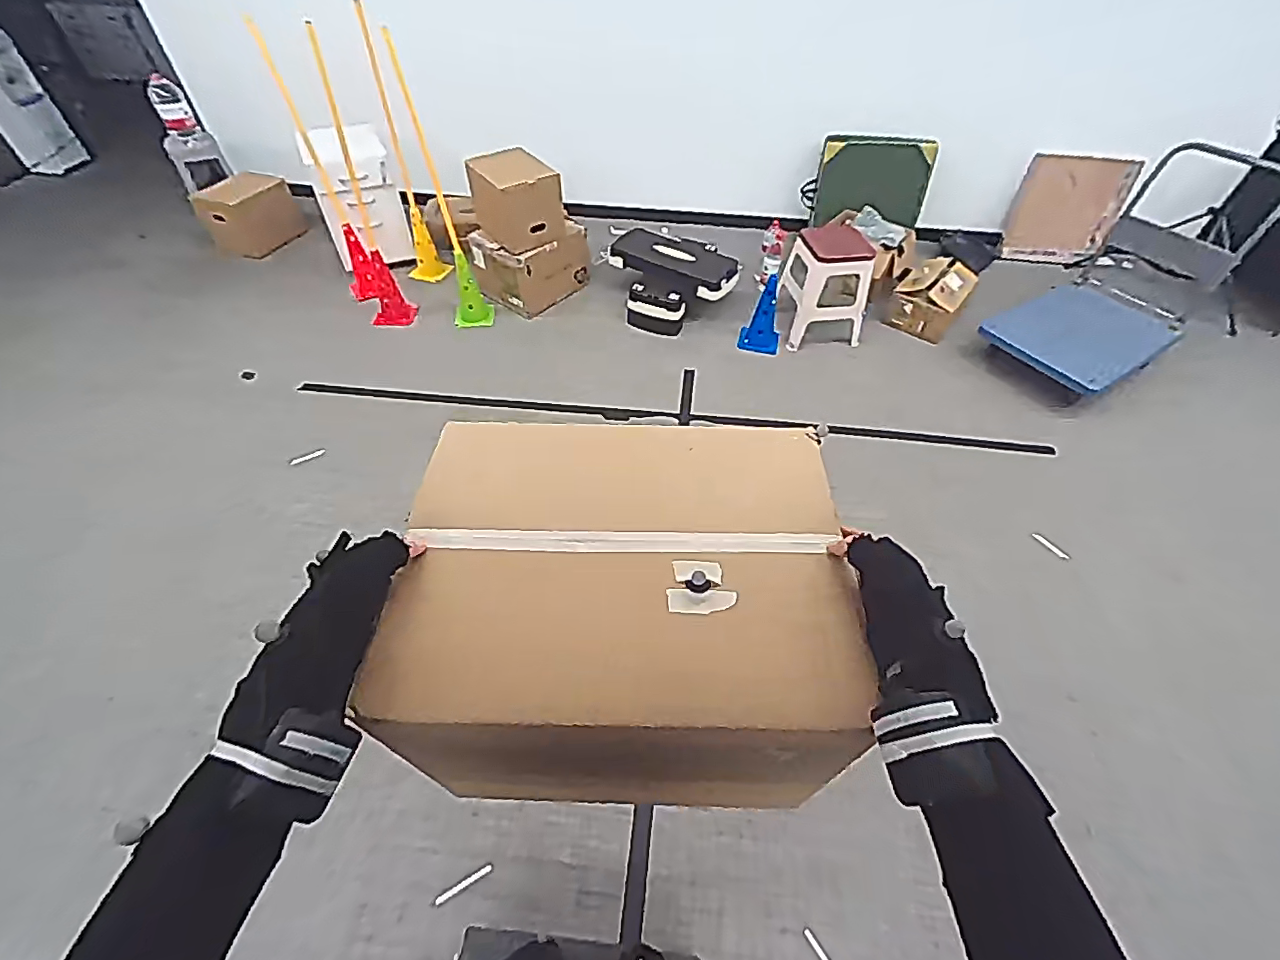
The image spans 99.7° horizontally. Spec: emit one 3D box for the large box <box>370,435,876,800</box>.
[{"bbox_3d":[-0.013,0.164,0.626,0.408,0.320,0.320,1,50,1],"label":"large box"}]
